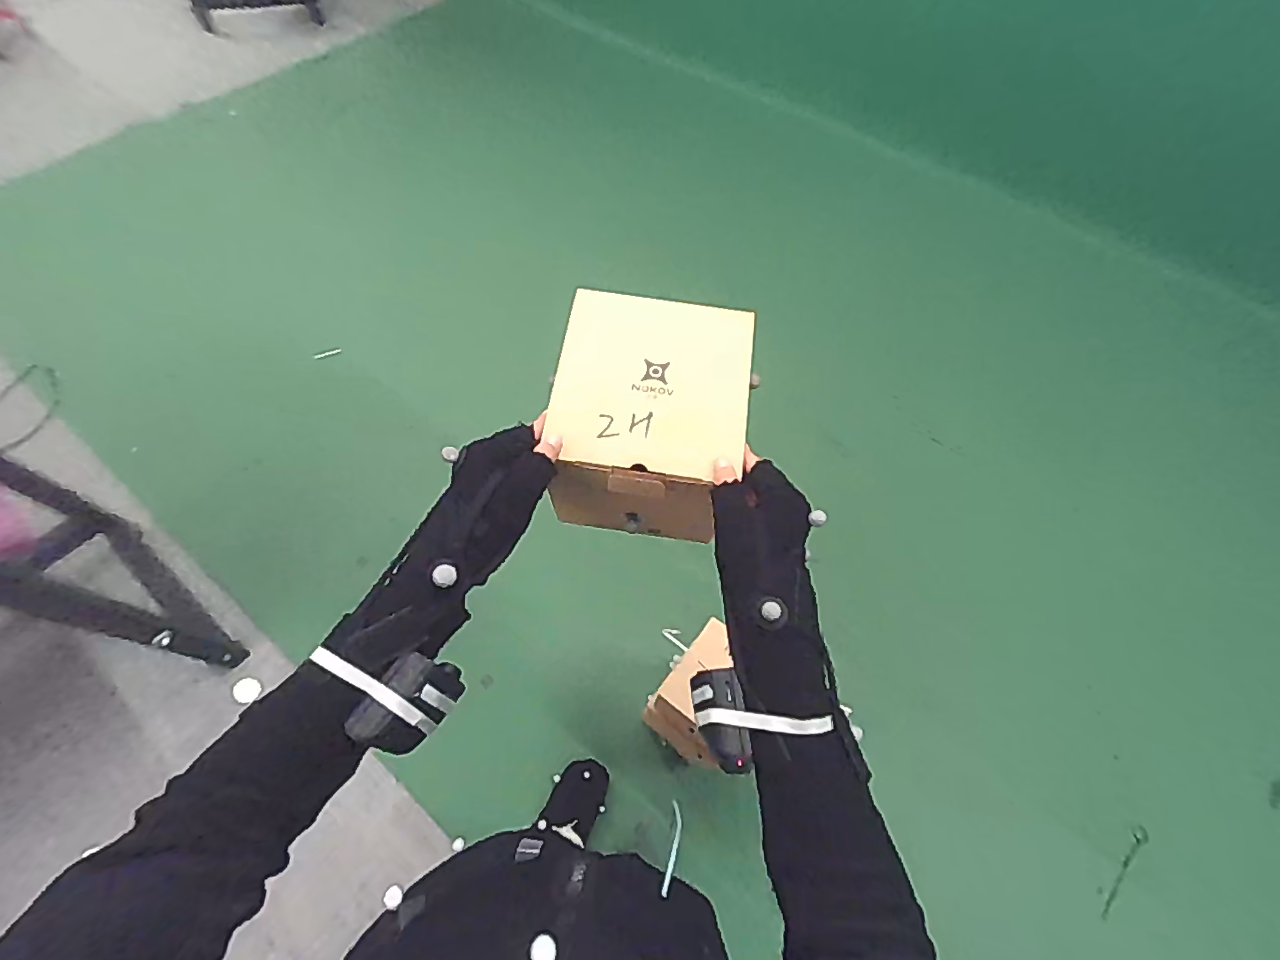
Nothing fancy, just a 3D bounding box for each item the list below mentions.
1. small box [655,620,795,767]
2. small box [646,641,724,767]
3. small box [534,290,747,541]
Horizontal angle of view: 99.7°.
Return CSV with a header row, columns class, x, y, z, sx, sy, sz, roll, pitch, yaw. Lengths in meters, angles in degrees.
class,x,y,z,sx,sy,sz,roll,pitch,yaw
small box,0.143,0.384,0.970,0.179,0.176,0.168,35,65,16
small box,0.126,0.465,1.112,0.179,0.176,0.168,36,66,16
small box,0.003,-0.054,0.537,0.168,0.176,0.179,8,68,2
